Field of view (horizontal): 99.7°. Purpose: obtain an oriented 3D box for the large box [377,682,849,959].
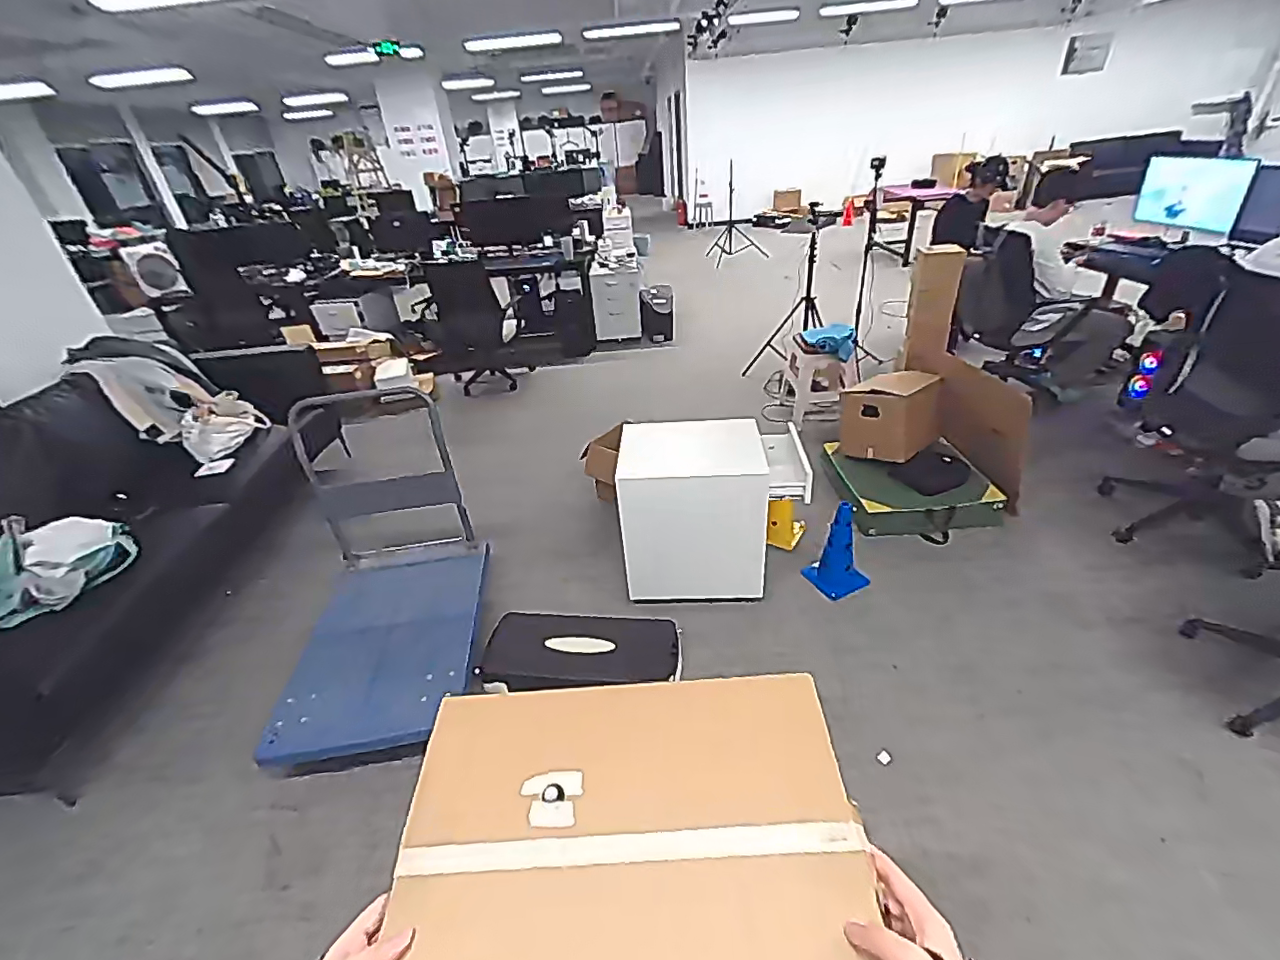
[{"bbox_3d":[0.003,0.432,0.599,0.408,0.320,0.320,-1,54,14],"label":"large box"}]
